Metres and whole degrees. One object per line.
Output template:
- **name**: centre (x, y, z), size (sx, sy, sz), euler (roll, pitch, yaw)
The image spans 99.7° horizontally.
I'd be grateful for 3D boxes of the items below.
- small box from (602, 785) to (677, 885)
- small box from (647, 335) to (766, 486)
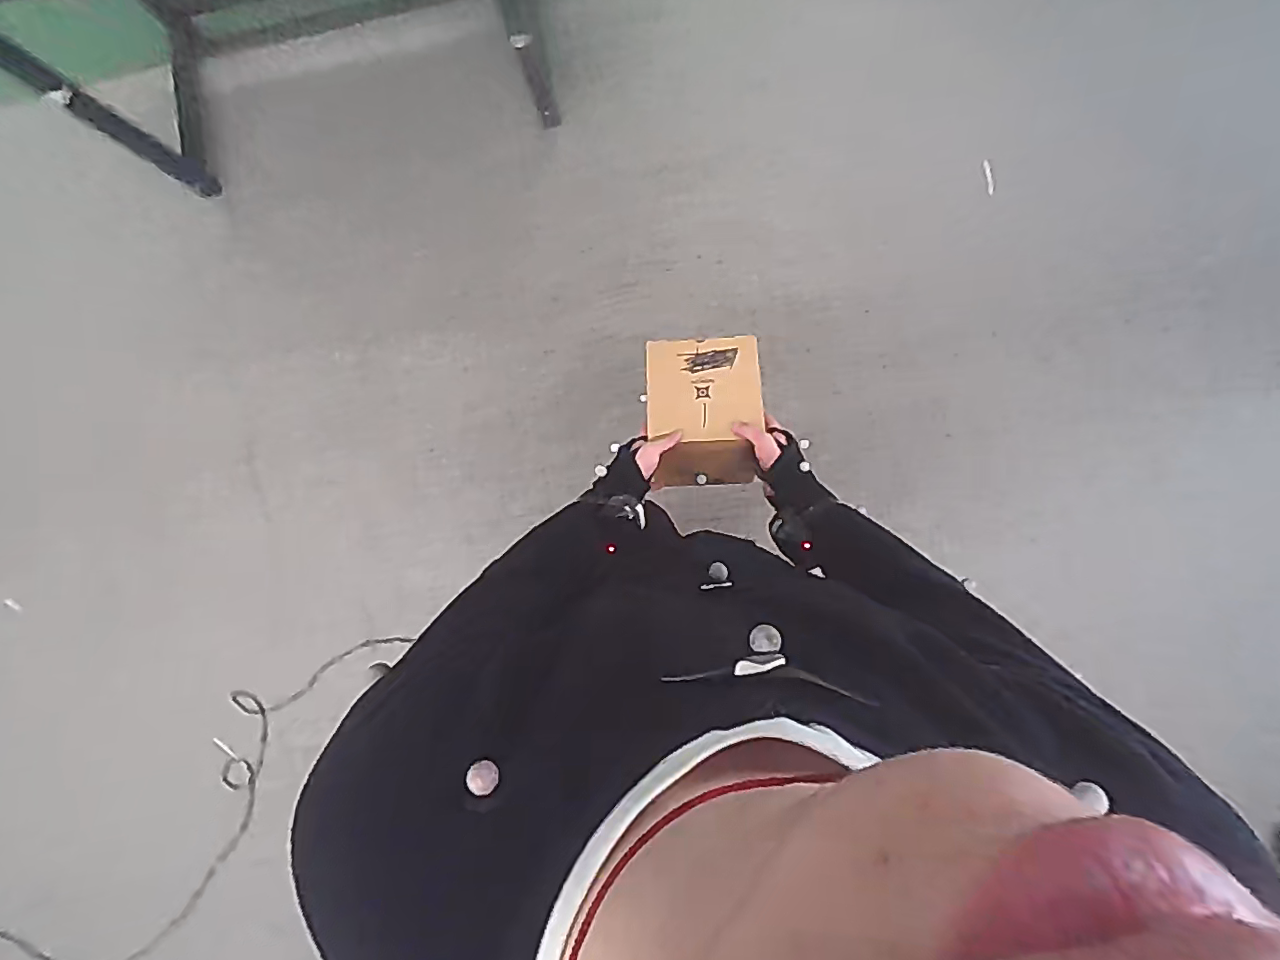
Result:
- **small box**: centre (0.005, 0.955, 1.465), size (0.179, 0.176, 0.168), euler (-7, 88, 5)
- **small box**: centre (0.099, -0.105, 0.858), size (0.168, 0.176, 0.179), euler (-4, 68, 5)
